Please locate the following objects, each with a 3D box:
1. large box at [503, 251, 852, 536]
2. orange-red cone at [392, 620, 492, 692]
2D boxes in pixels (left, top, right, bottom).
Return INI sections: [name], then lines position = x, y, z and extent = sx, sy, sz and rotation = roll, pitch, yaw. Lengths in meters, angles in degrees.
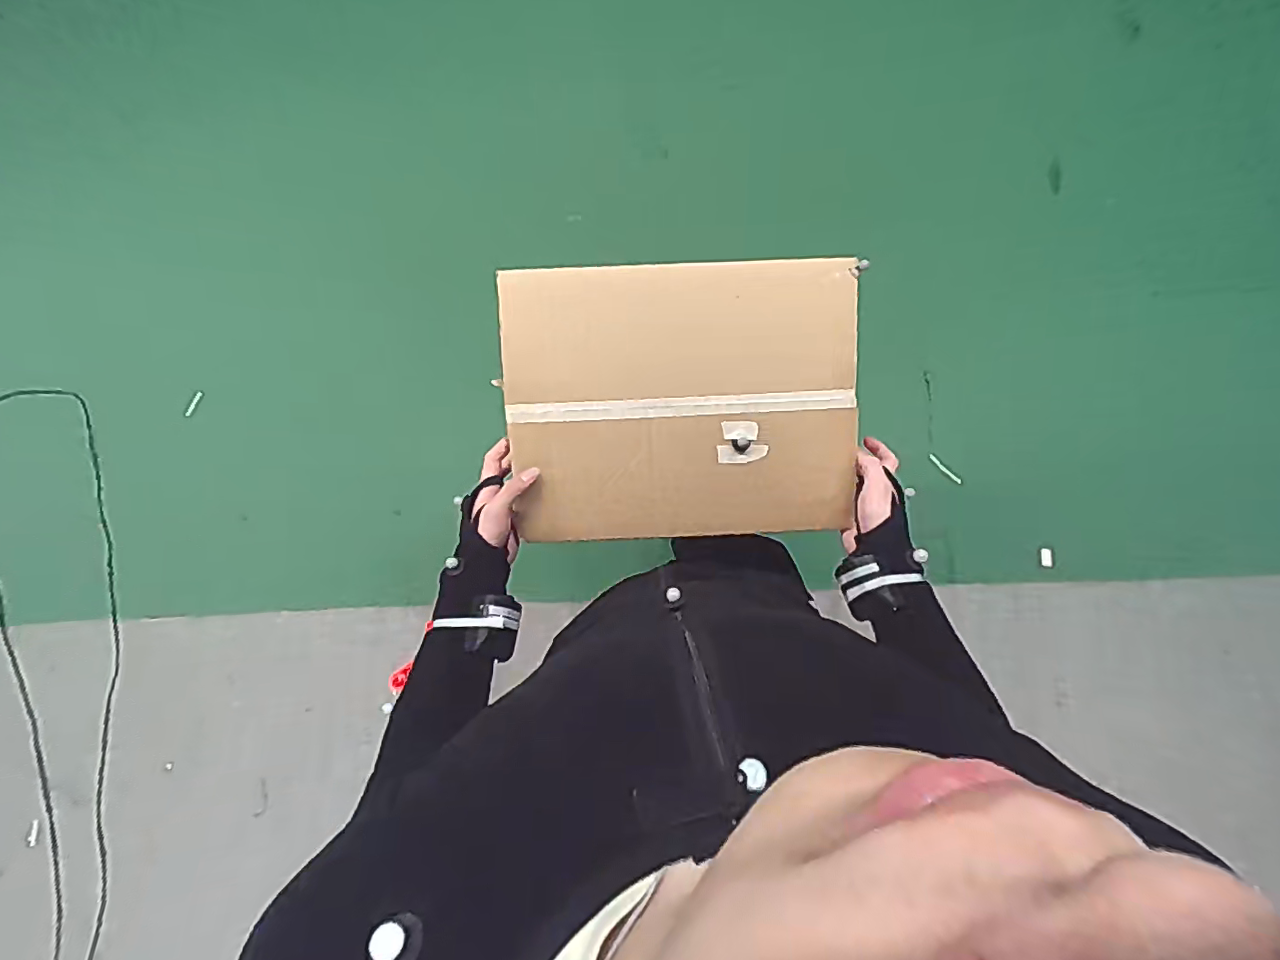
[large box]
position = 0.045, -0.117, 0.781
extent = 0.408, 0.320, 0.320
rotation = -3, 99, -1
[orange-red cone]
position = -0.558, 0.498, 1.443
extent = 0.199, 0.360, 0.198
rotation = 4, 81, 5
